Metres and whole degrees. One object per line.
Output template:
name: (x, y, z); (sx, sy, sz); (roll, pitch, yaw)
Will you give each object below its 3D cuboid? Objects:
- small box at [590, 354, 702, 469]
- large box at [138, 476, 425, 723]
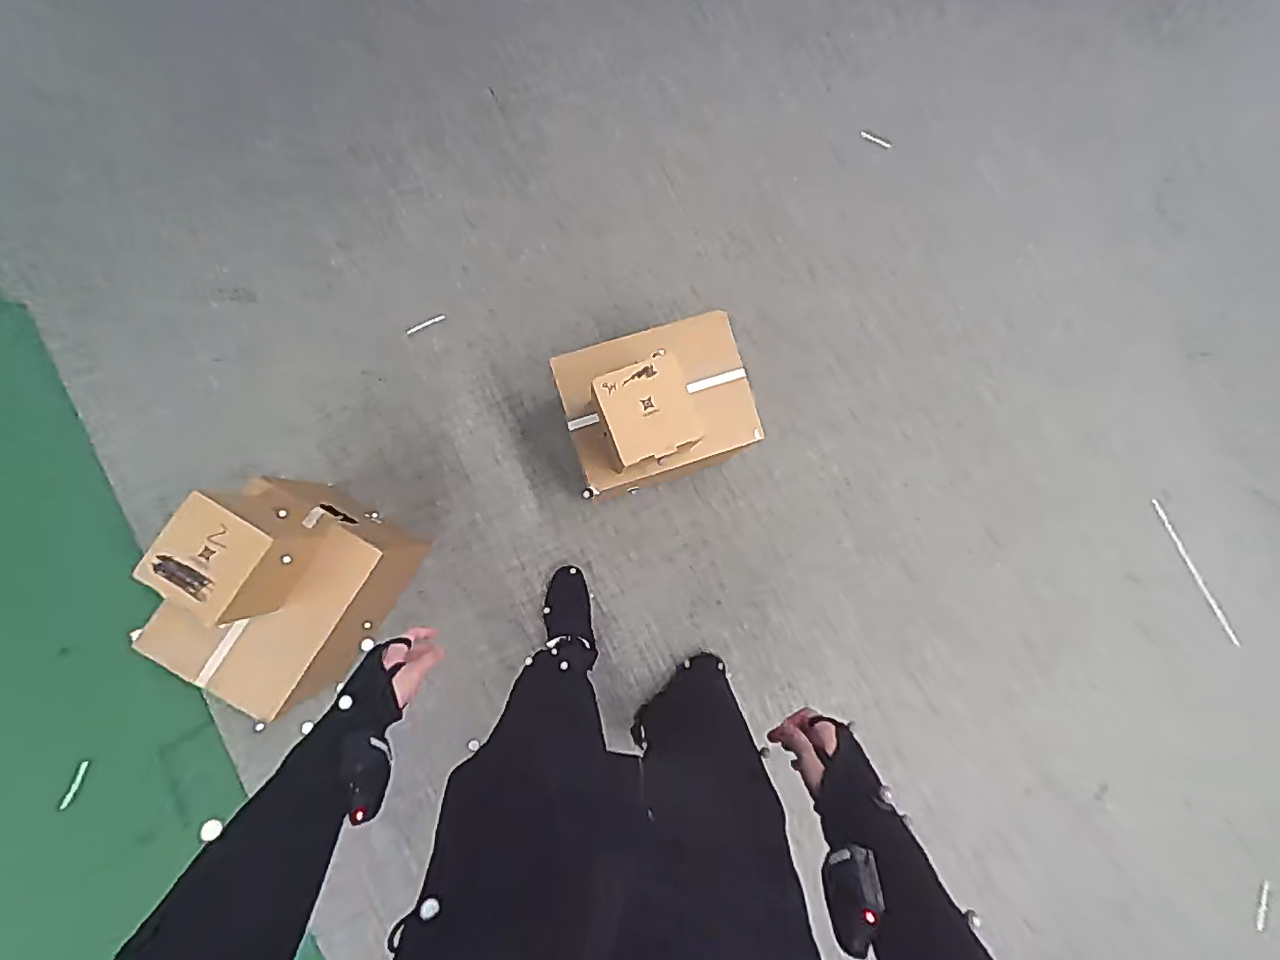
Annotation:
small box: (0.006, -0.126, 1.076); (0.168, 0.176, 0.179); (-20, 89, -6)
large box: (-0.767, 0.244, 1.229); (0.320, 0.320, 0.408); (31, 84, -1)
